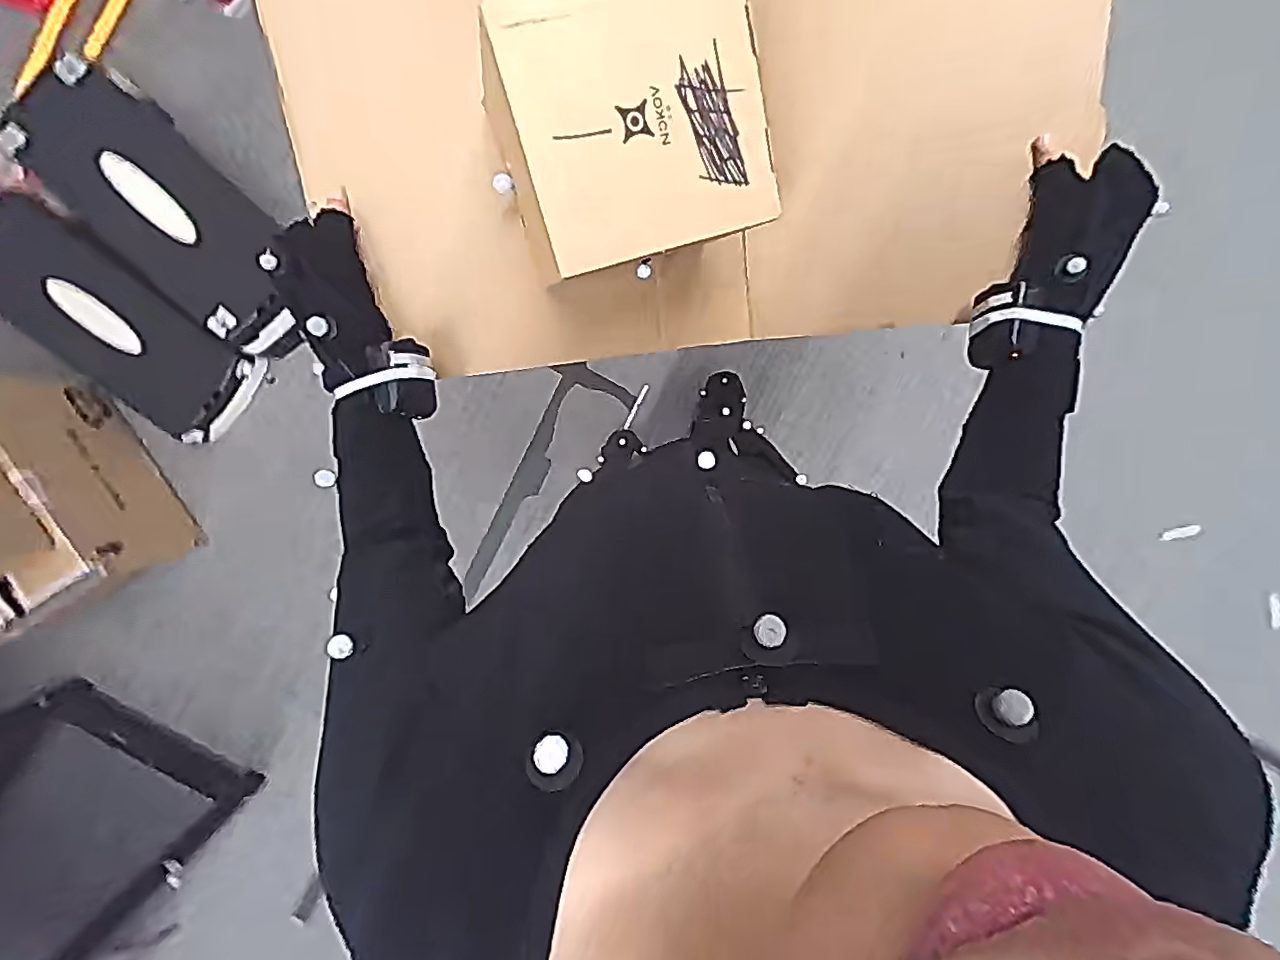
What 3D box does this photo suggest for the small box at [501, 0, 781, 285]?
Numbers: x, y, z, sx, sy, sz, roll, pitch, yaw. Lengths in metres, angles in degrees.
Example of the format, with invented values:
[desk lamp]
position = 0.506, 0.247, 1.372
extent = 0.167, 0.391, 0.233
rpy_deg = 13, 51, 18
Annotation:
[small box]
position = -0.009, -0.268, 0.451
extent = 0.179, 0.176, 0.168
rpy_deg = -18, 110, -9
